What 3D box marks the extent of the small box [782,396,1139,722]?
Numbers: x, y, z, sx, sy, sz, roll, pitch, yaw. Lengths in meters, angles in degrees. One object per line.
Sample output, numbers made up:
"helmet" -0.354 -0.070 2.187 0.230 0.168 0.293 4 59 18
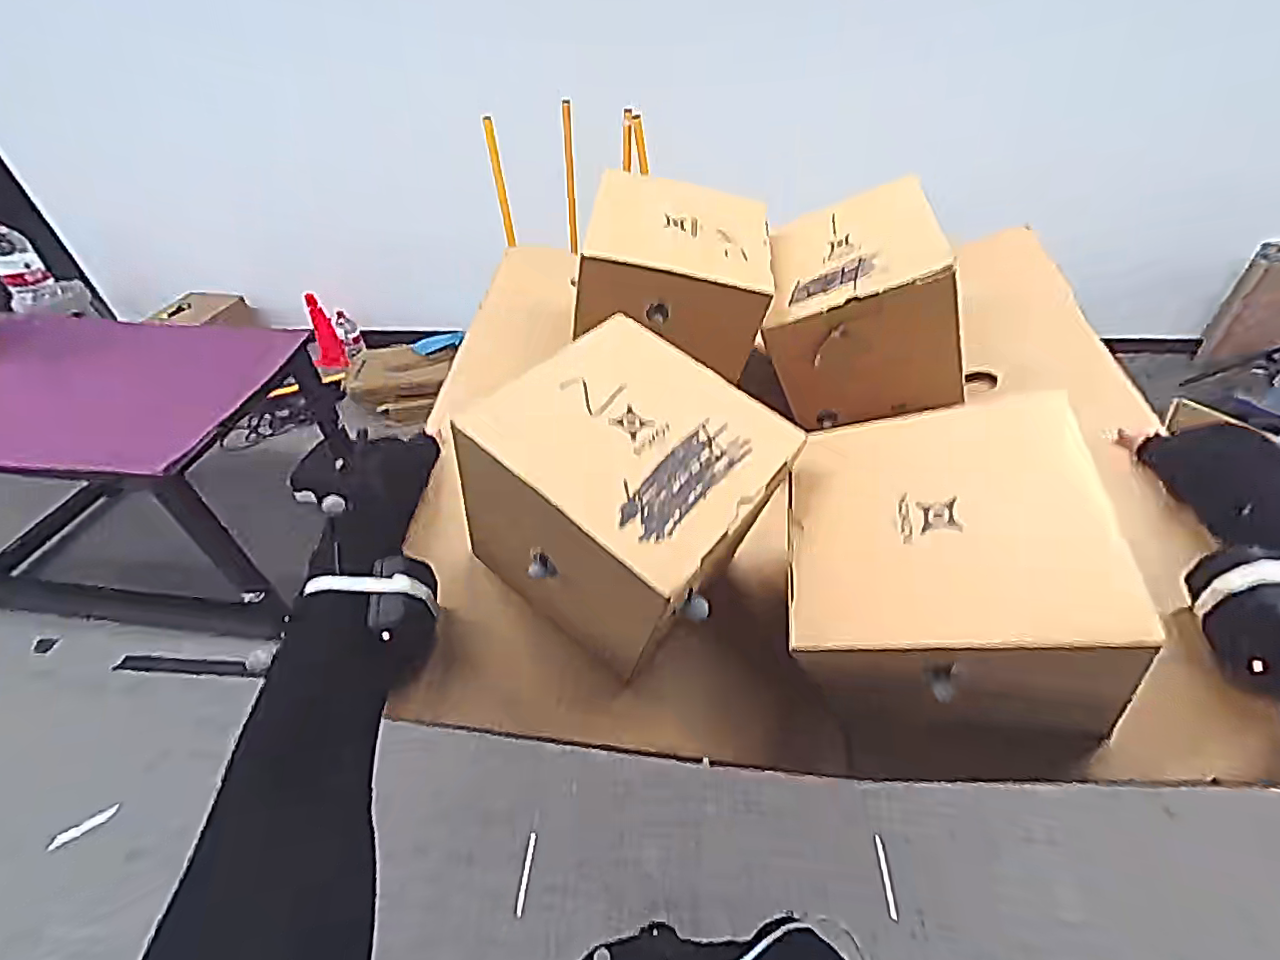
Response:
"small box" 0.214 0.069 0.397 0.179 0.176 0.168 -10 50 29
